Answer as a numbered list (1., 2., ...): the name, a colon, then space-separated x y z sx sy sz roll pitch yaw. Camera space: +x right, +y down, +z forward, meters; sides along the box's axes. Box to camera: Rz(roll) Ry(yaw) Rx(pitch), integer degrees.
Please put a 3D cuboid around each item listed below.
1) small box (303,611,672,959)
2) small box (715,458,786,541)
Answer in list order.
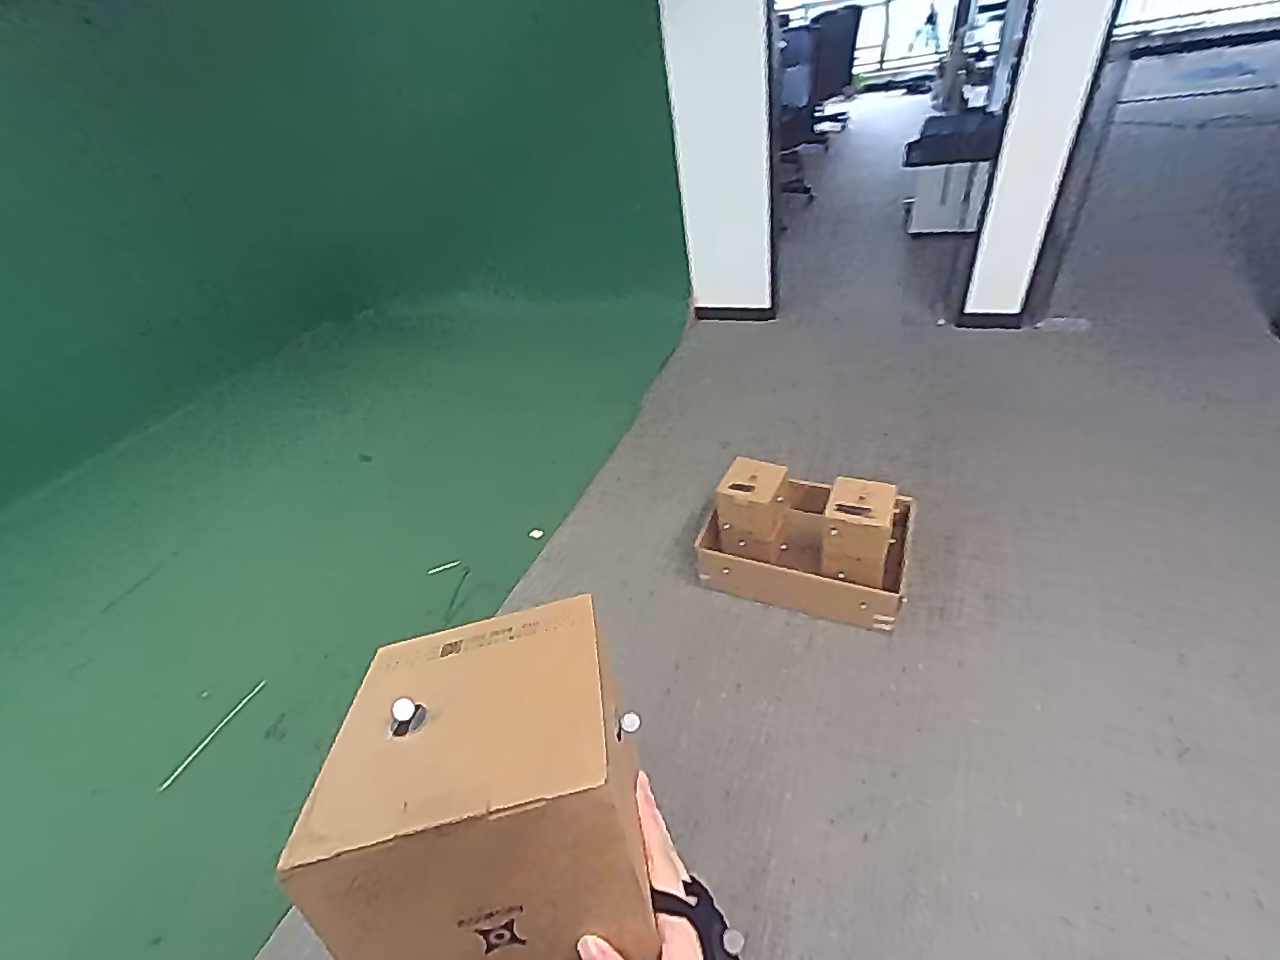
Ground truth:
1. small box: -0.083 0.211 0.373 0.168 0.179 0.176 -12 23 -2
2. small box: 0.348 0.062 1.683 0.168 0.176 0.179 16 47 28
